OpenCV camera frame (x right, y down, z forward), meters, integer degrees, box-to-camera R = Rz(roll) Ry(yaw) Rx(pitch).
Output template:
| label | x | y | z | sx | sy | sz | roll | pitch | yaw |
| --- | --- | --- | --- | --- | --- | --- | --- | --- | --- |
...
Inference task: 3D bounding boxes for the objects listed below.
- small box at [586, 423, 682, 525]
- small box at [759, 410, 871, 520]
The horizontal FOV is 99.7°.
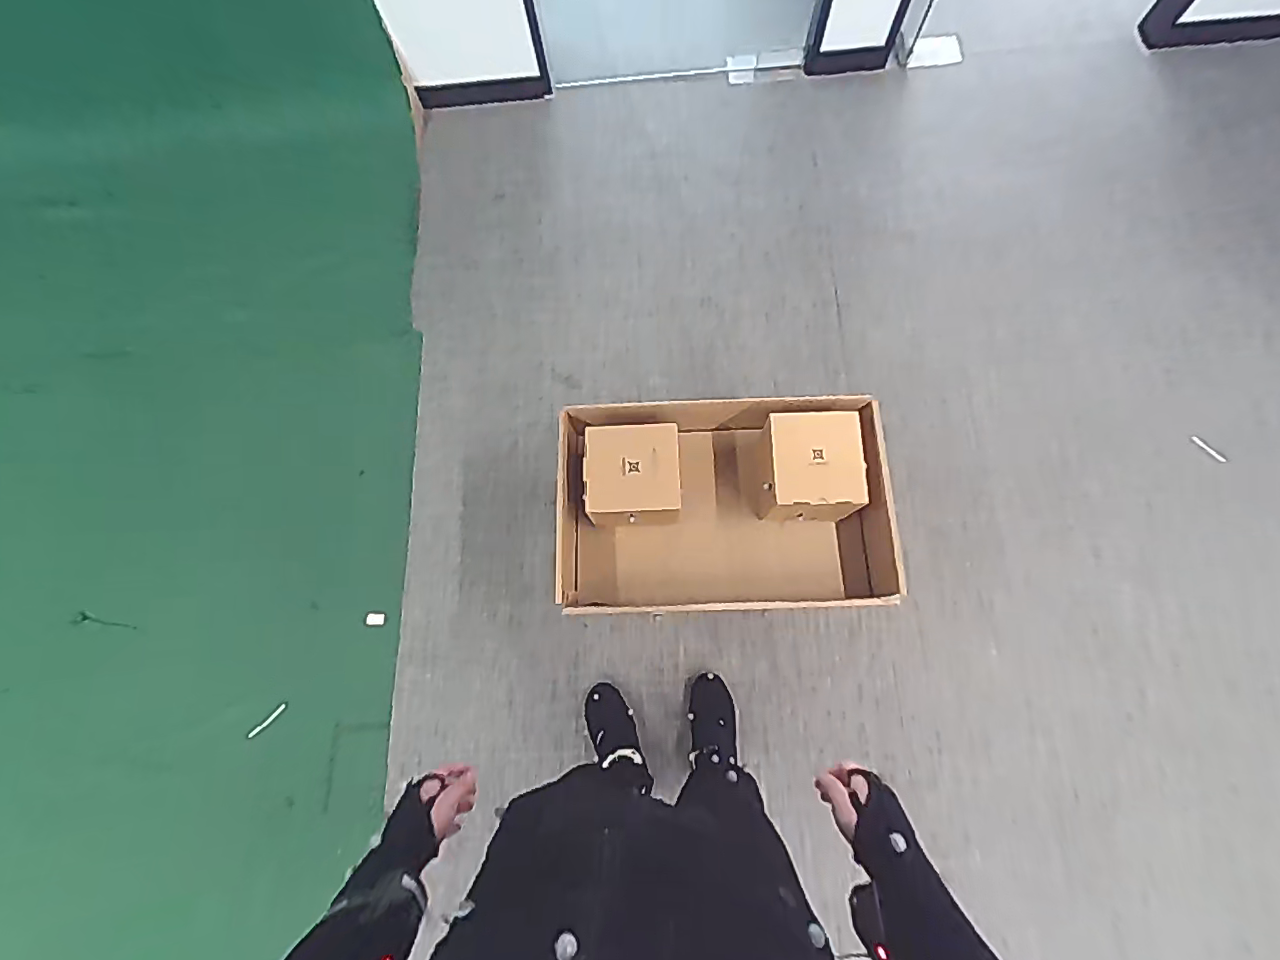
| label | x | y | z | sx | sy | sz | roll | pitch | yaw |
| --- | --- | --- | --- | --- | --- | --- | --- | --- | --- |
| small box | -0.007 | -0.005 | 1.066 | 0.179 | 0.176 | 0.168 | -1 | 75 | 2 |
| small box | 0.330 | -0.024 | 1.055 | 0.168 | 0.176 | 0.179 | -1 | 76 | 2 |
